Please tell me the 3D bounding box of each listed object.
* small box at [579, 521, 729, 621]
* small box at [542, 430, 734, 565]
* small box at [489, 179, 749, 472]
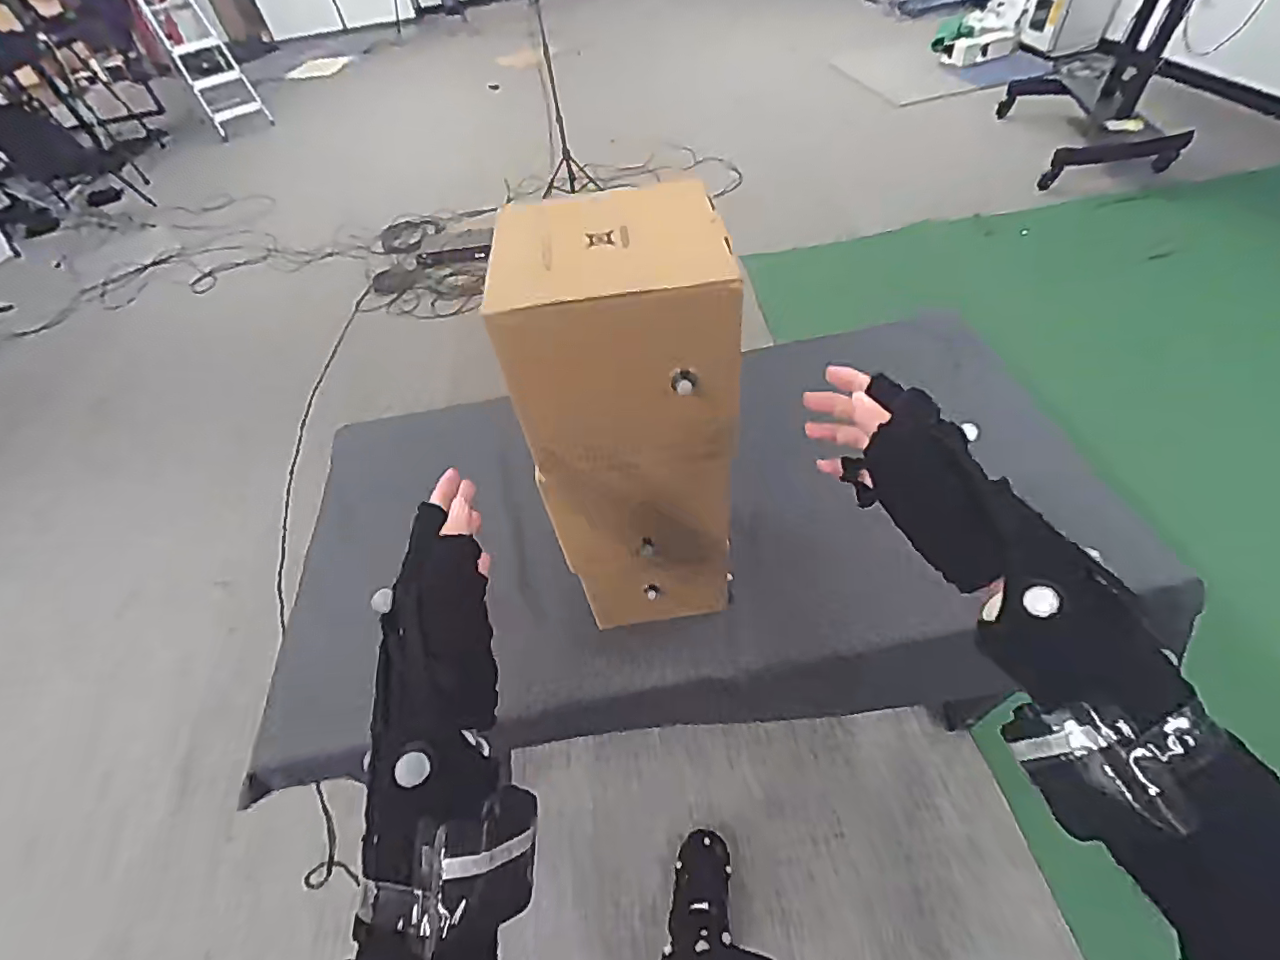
[{"bbox_3d":[0.015,0.071,0.723,0.179,0.176,0.168,-9,50,1],"label":"small box"},{"bbox_3d":[-0.003,-0.025,0.592,0.179,0.176,0.168,-8,50,0],"label":"small box"},{"bbox_3d":[-0.012,-0.127,0.465,0.179,0.176,0.168,-8,49,2],"label":"small box"}]
